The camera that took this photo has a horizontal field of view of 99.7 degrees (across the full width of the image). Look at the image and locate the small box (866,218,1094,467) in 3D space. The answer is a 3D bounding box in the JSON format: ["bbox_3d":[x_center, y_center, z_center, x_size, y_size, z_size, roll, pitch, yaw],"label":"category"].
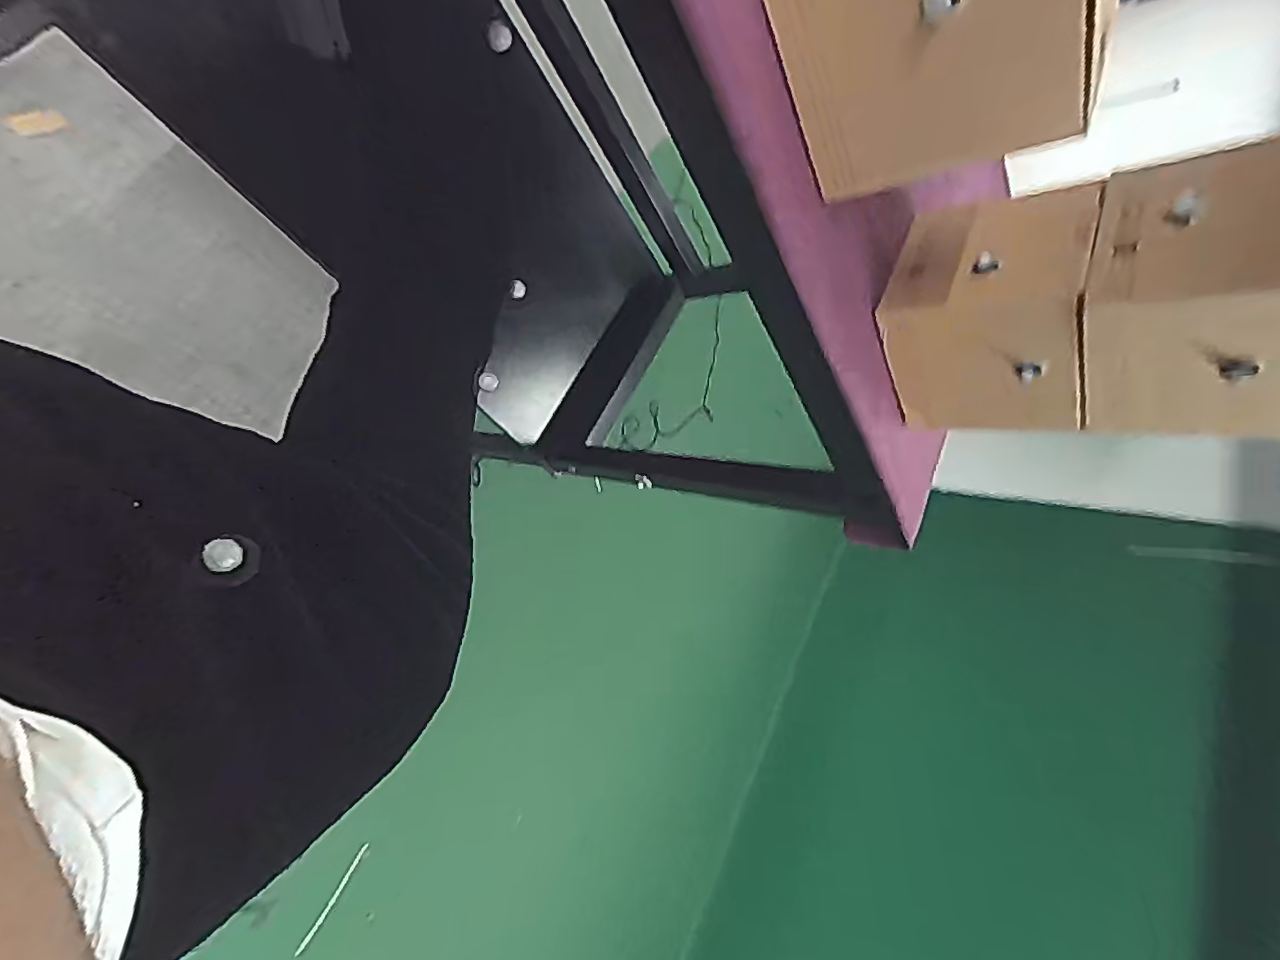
[{"bbox_3d":[0.352,-0.133,0.564,0.168,0.176,0.179,-58,134,-25],"label":"small box"}]
